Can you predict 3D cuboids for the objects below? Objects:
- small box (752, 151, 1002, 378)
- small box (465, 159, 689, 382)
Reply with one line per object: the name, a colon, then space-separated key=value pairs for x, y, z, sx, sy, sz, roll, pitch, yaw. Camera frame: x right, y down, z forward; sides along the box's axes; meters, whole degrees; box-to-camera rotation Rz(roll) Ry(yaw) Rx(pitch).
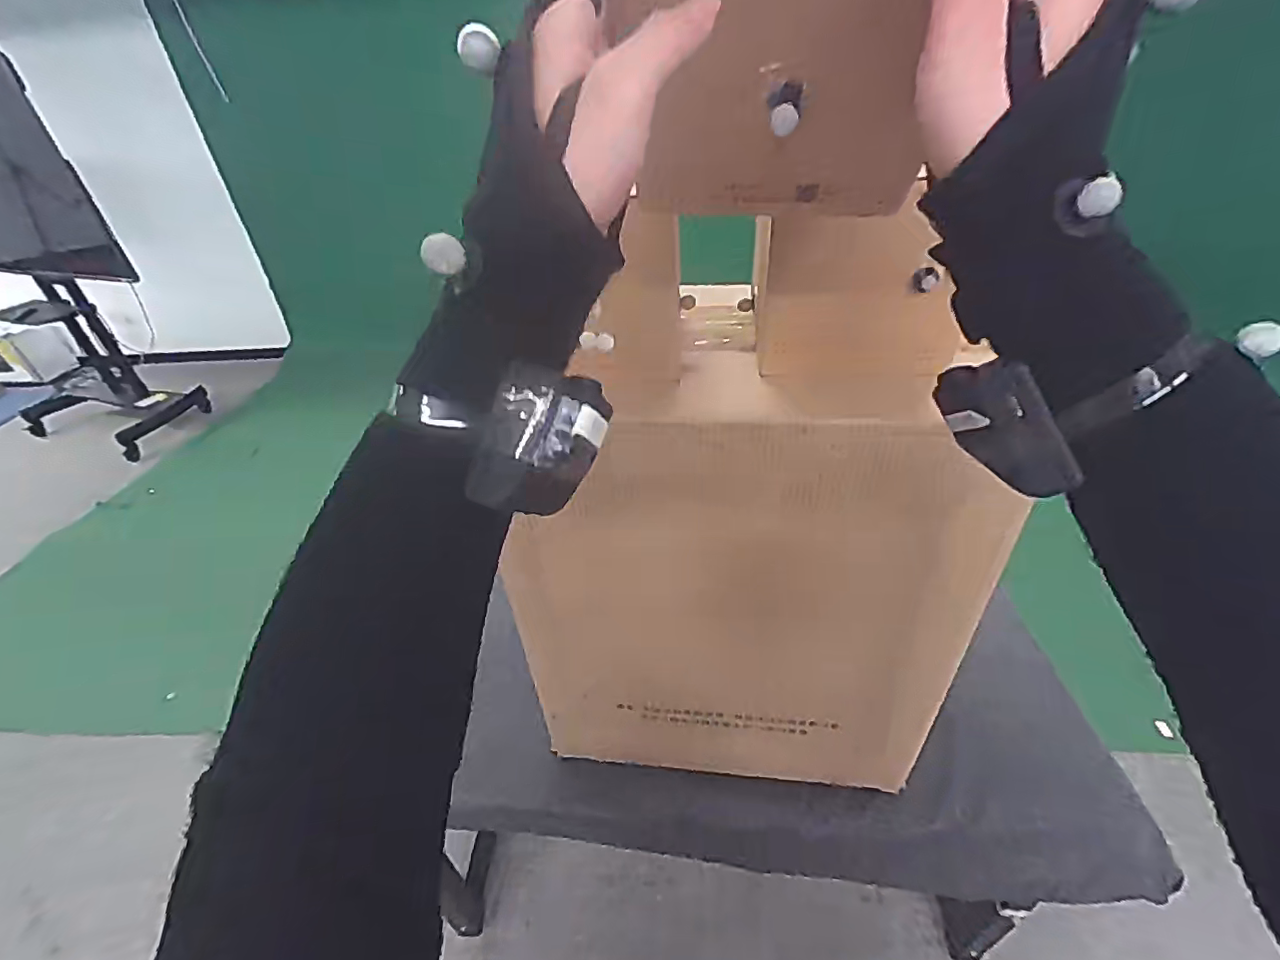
small box: x=0.206 y=-0.209 z=0.531 sx=0.179 sy=0.176 sz=0.168 roll=0 pitch=37 yaw=8
small box: x=-0.046 y=-0.211 z=0.553 sx=0.179 sy=0.176 sz=0.168 roll=0 pitch=40 yaw=9
